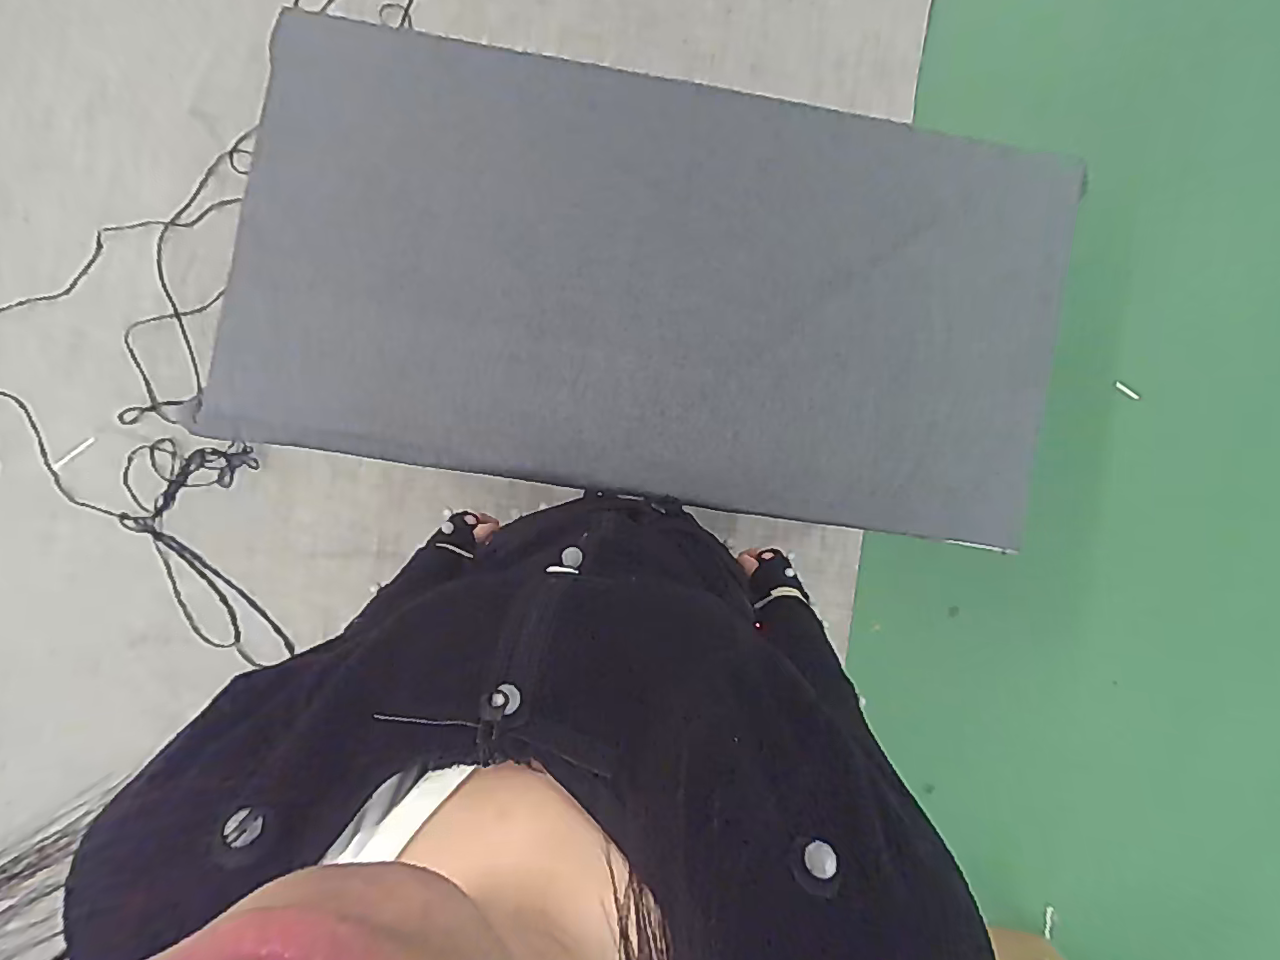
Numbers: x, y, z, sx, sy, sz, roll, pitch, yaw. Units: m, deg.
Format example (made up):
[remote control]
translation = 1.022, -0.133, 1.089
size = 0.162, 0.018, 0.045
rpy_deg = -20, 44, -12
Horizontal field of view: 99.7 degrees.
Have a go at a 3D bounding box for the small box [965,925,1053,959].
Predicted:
[small box]
translation = 0.991, 1.317, 1.417
size = 0.179, 0.176, 0.168
rpy_deg = 9, 87, -2
